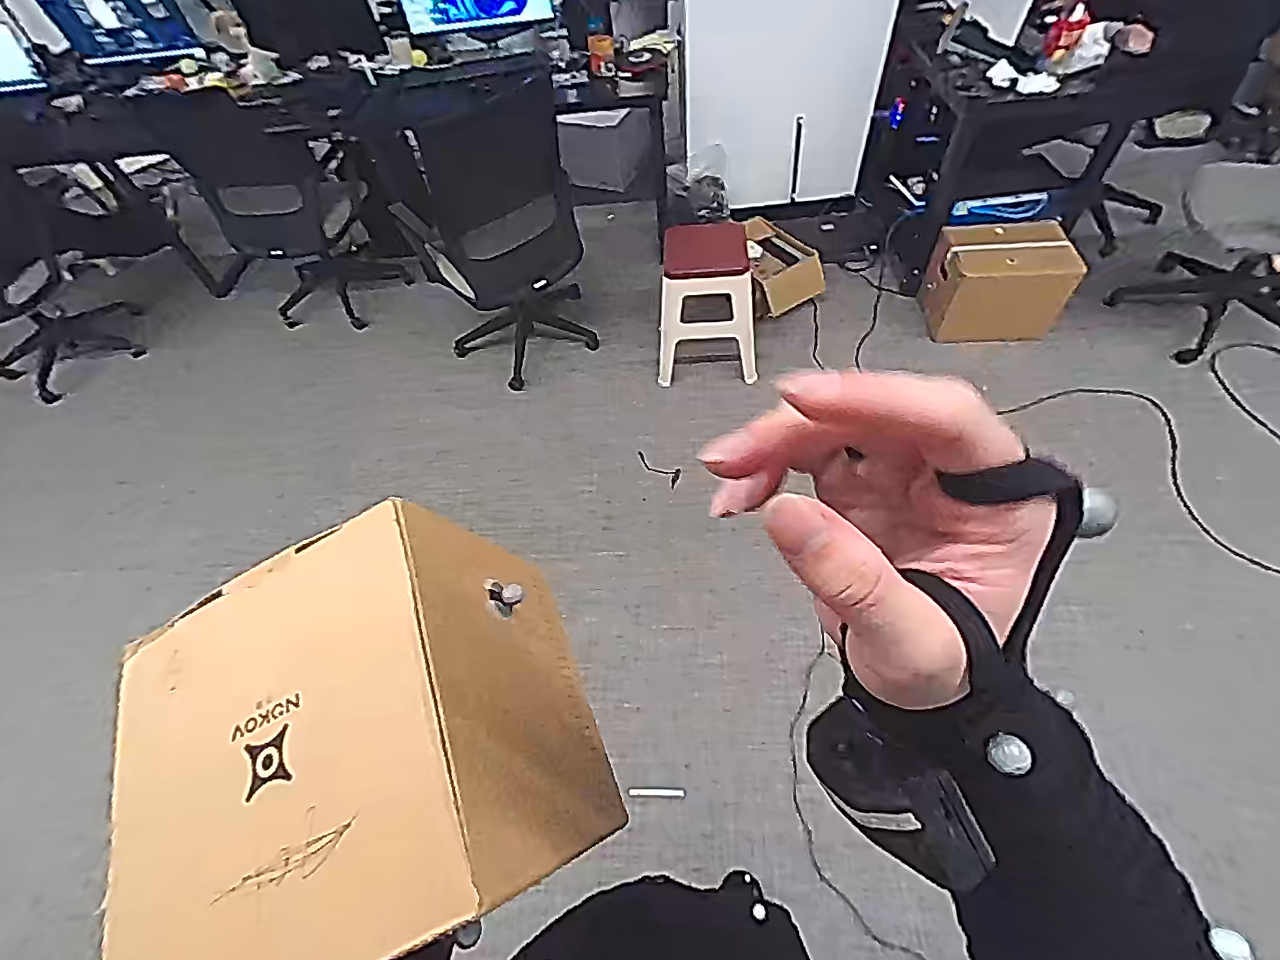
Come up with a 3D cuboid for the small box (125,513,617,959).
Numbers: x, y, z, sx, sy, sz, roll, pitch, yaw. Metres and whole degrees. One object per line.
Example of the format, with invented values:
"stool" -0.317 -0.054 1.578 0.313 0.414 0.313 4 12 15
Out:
"small box" -0.134 0.150 0.312 0.168 0.176 0.179 -28 63 5
